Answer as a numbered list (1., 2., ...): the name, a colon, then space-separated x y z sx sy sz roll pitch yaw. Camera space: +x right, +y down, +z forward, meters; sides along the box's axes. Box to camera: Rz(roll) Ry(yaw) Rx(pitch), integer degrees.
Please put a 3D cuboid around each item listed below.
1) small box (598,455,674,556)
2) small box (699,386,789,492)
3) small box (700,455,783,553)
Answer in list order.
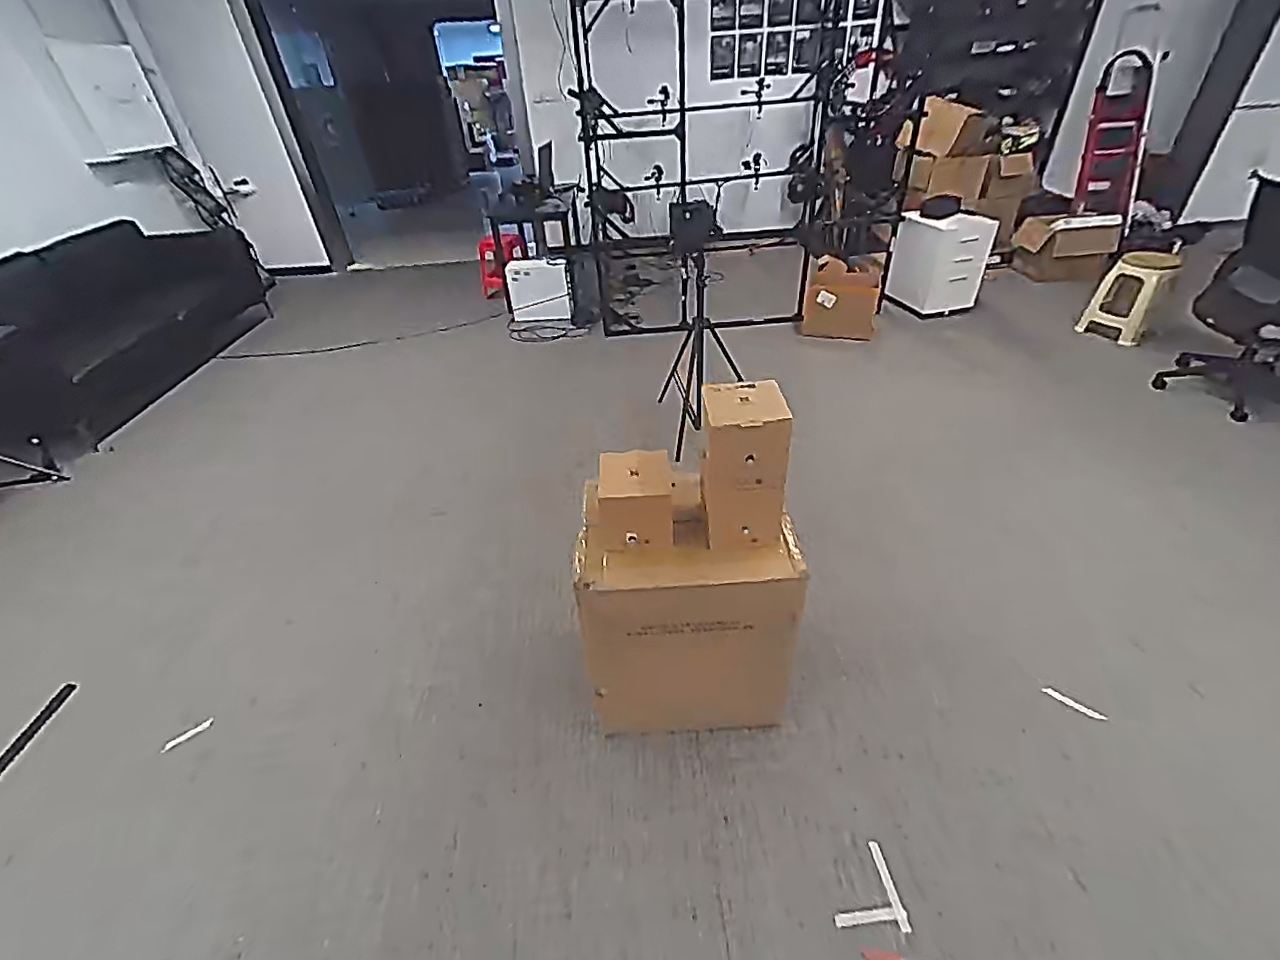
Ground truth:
1. small box: -0.009 0.060 1.288 0.168 0.176 0.179 -5 38 0
2. small box: 0.221 -0.084 1.180 0.168 0.176 0.179 -4 37 2
3. small box: 0.230 0.050 1.274 0.168 0.176 0.179 -5 37 2
